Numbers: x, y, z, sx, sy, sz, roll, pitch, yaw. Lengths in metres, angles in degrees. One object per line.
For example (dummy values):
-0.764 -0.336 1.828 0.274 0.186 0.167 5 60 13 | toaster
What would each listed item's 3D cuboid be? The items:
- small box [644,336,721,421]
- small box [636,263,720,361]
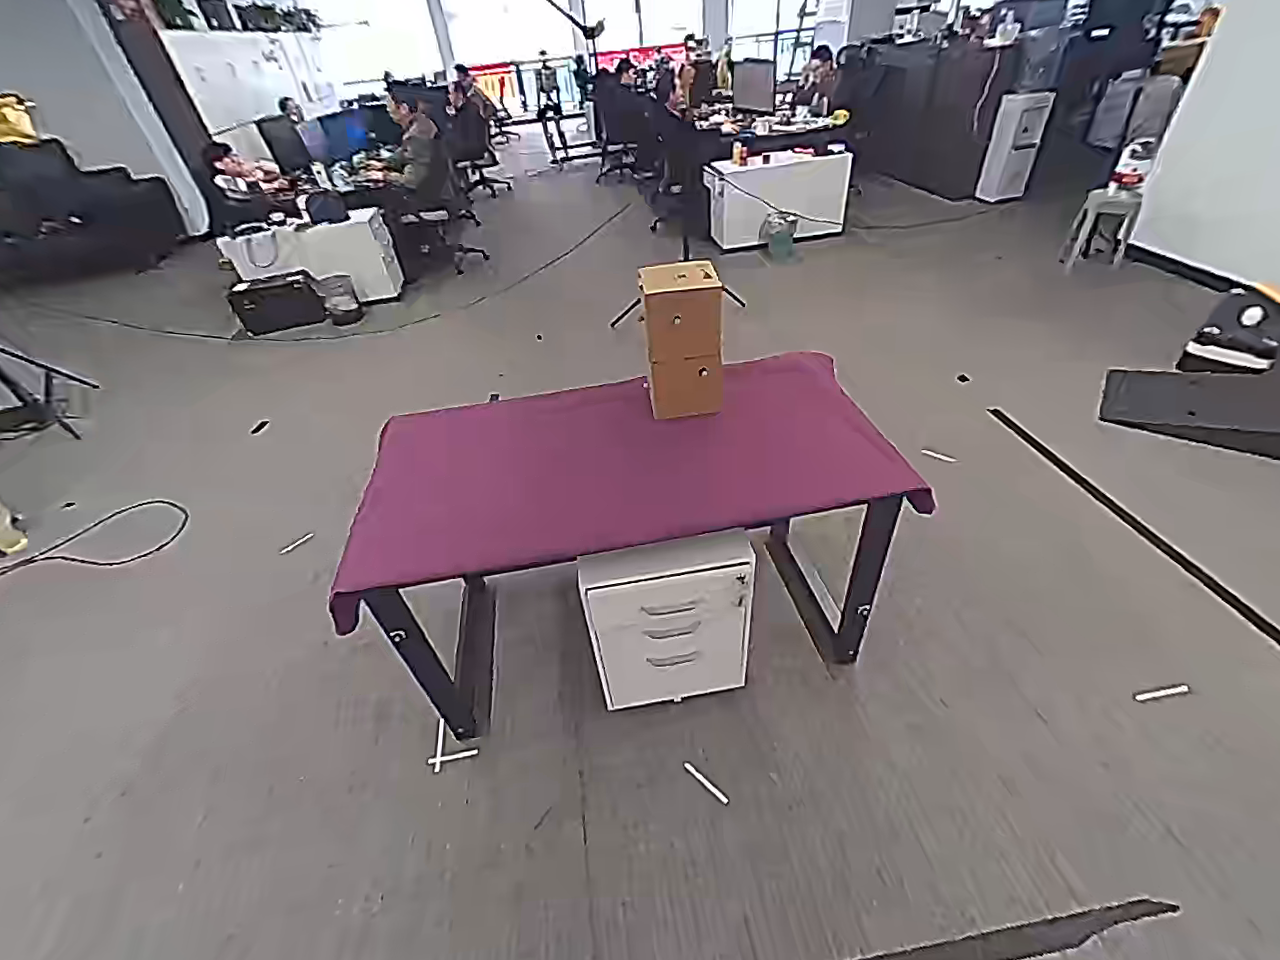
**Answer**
0.108 -0.273 1.400 0.179 0.176 0.168 -8 40 -1 | small box
0.092 -0.398 1.295 0.179 0.176 0.168 -7 41 1 | small box
